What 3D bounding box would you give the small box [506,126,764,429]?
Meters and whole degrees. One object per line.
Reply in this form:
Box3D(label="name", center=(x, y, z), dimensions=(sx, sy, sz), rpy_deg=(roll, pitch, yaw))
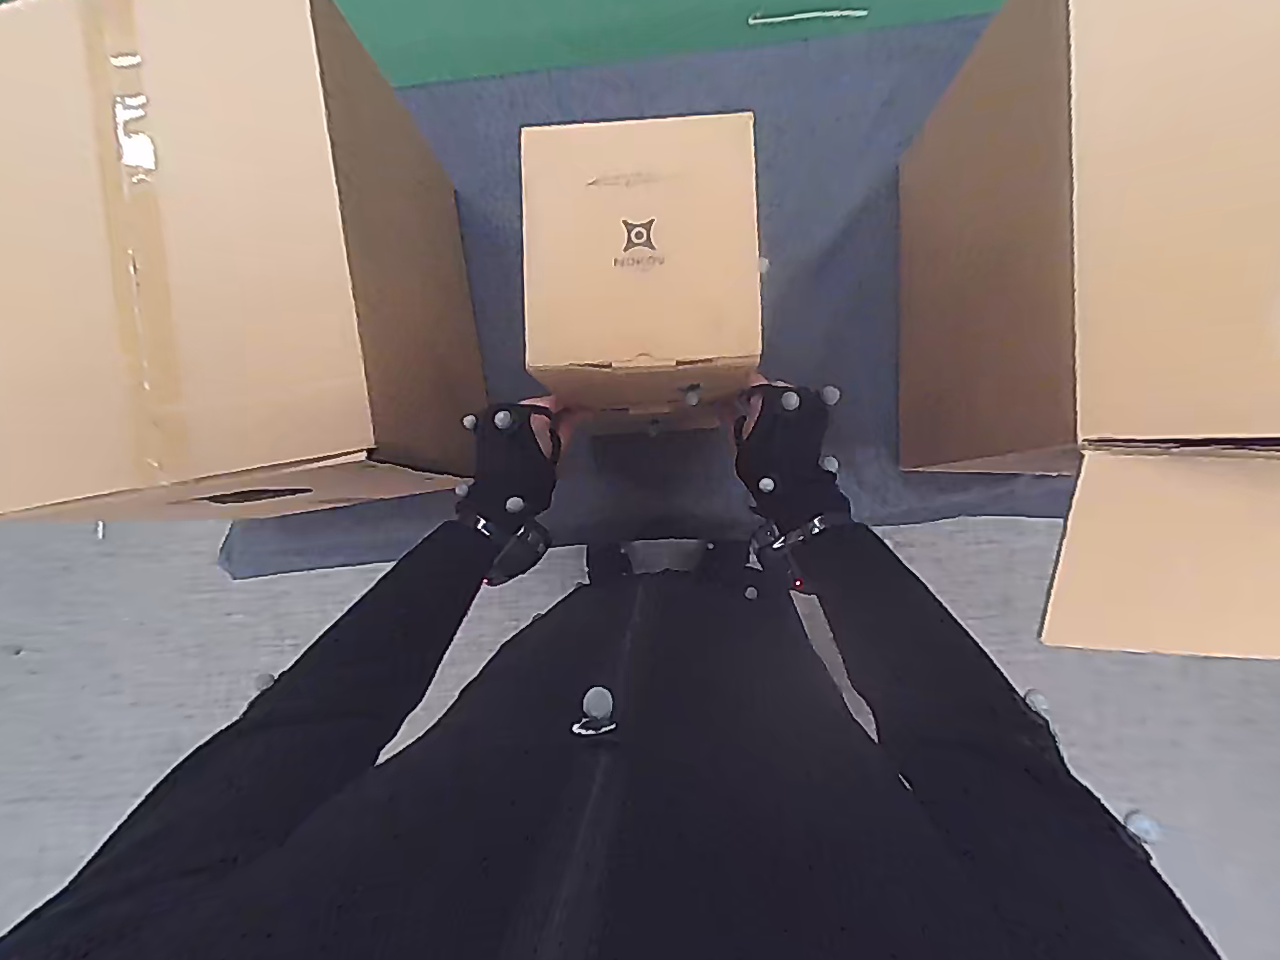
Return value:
Box3D(label="small box", center=(0.000, -0.136, 0.430), dimensions=(0.168, 0.176, 0.179), rpy_deg=(-3, 87, 2))
